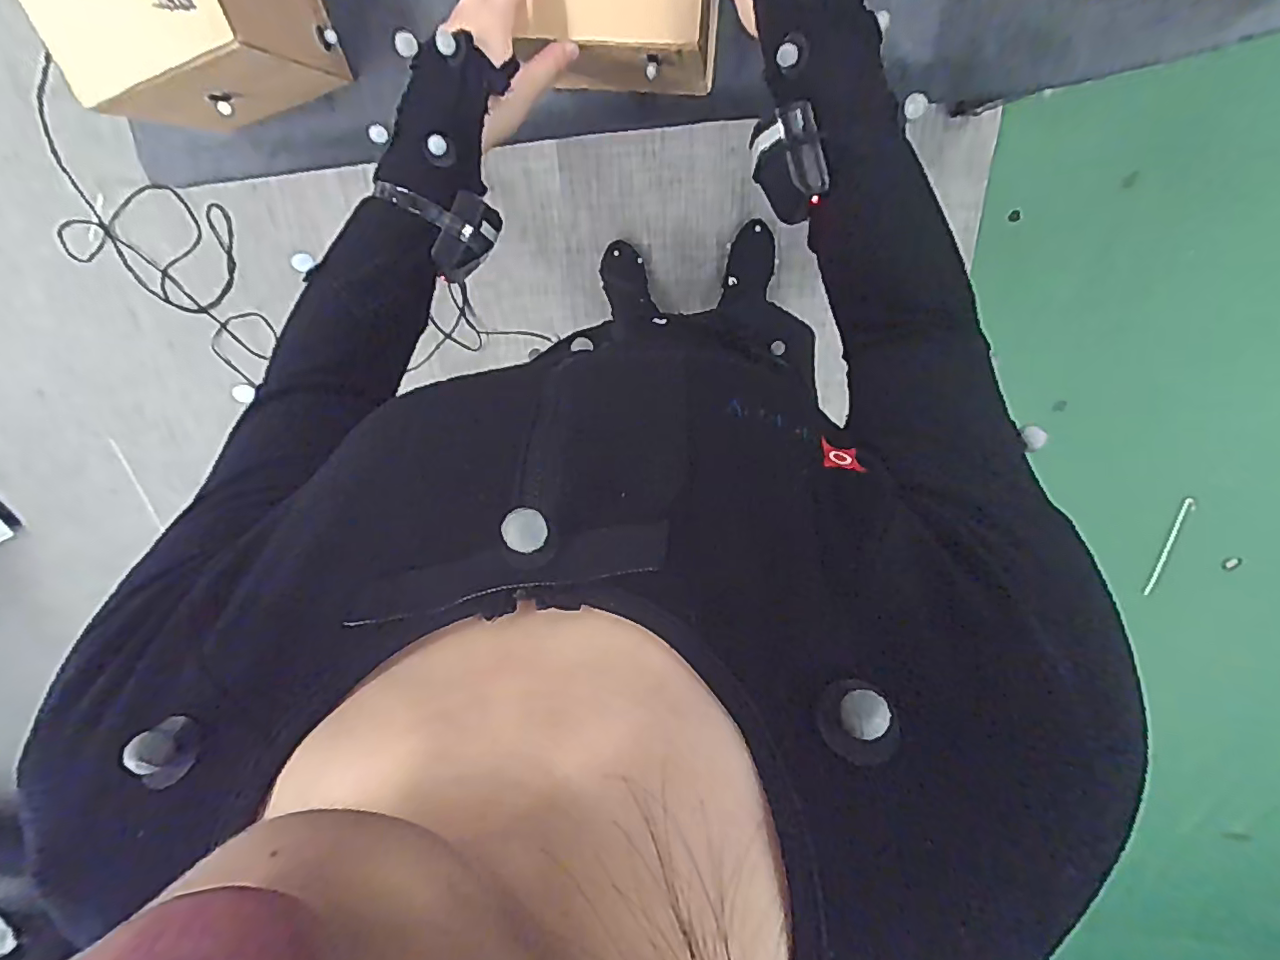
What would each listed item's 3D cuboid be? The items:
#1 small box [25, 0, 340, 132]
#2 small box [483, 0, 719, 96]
[{"bbox_3d":[-0.421,-0.449,0.505,0.179,0.176,0.168,-11,115,13],"label":"small box"},{"bbox_3d":[-0.021,-0.442,0.458,0.179,0.176,0.168,6,117,6],"label":"small box"}]
